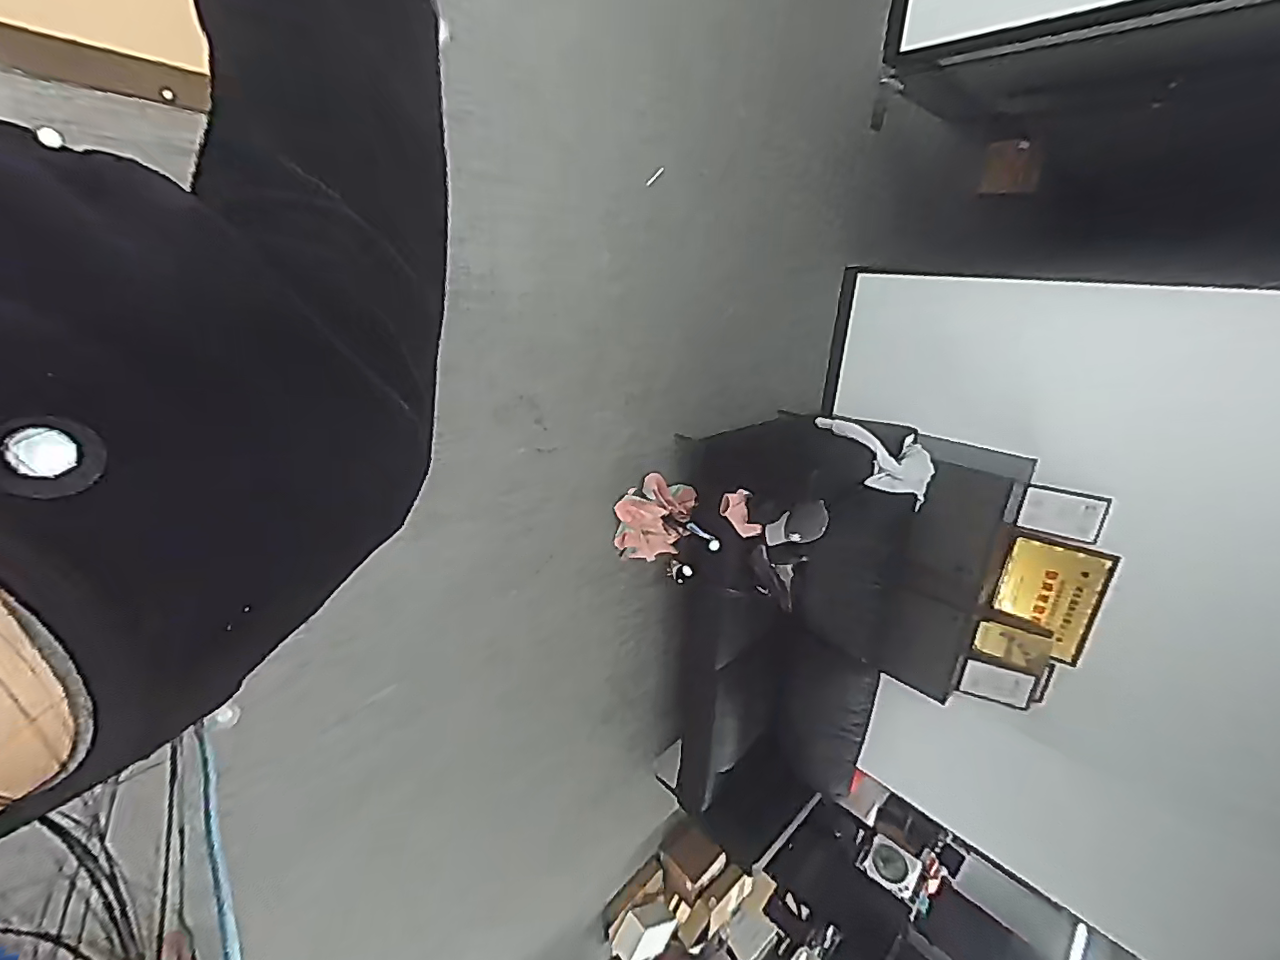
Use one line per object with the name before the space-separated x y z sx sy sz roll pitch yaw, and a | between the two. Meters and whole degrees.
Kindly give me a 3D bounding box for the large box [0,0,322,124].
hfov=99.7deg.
large box | -0.803 -0.822 0.888 0.408 0.320 0.320 -14 116 -41
